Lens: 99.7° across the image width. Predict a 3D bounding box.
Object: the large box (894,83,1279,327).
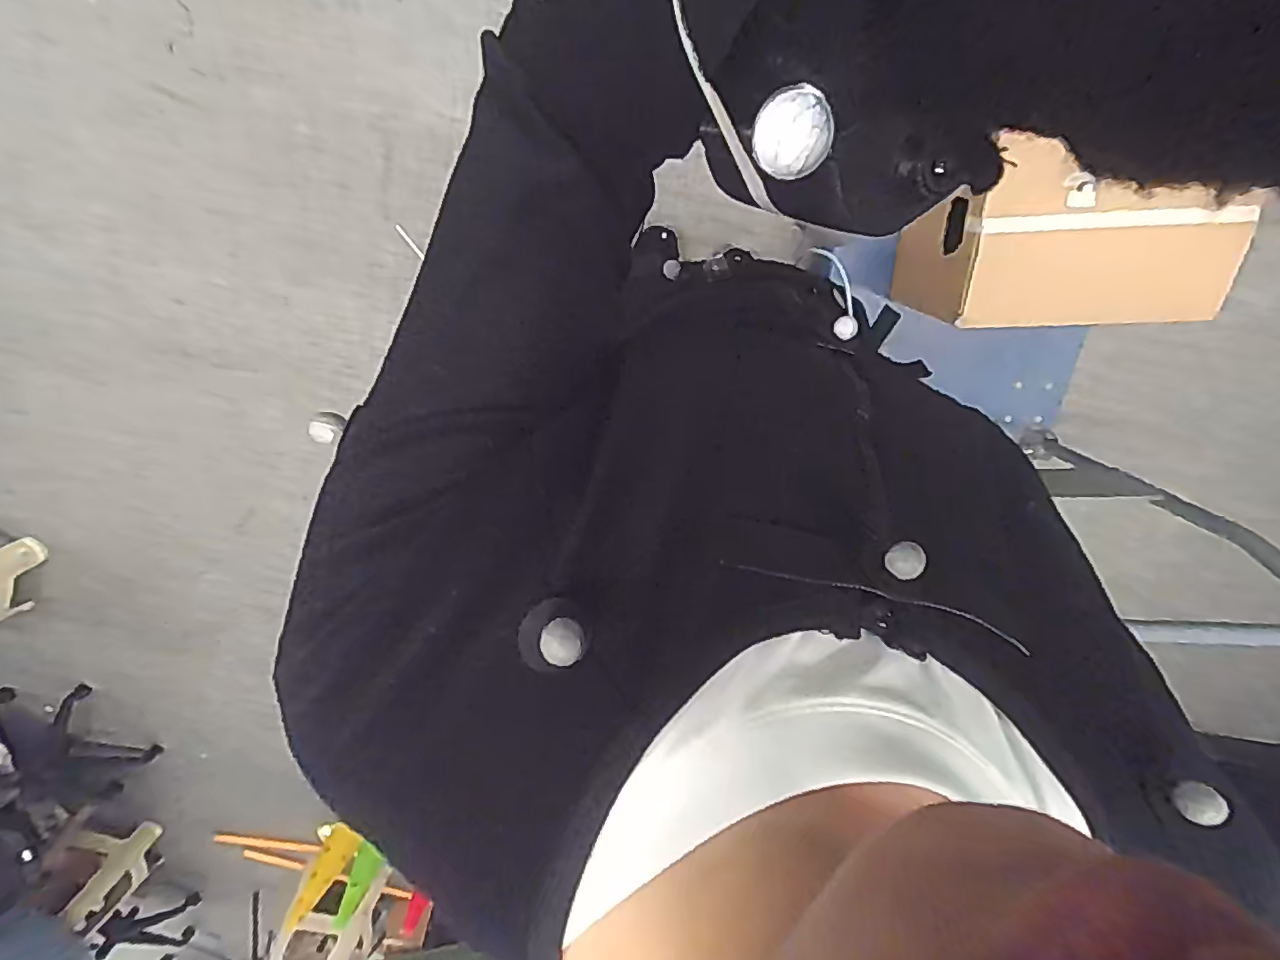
[{"bbox_3d":[0.729,-0.468,0.959,0.408,0.320,0.320,-1,115,5],"label":"large box"}]
